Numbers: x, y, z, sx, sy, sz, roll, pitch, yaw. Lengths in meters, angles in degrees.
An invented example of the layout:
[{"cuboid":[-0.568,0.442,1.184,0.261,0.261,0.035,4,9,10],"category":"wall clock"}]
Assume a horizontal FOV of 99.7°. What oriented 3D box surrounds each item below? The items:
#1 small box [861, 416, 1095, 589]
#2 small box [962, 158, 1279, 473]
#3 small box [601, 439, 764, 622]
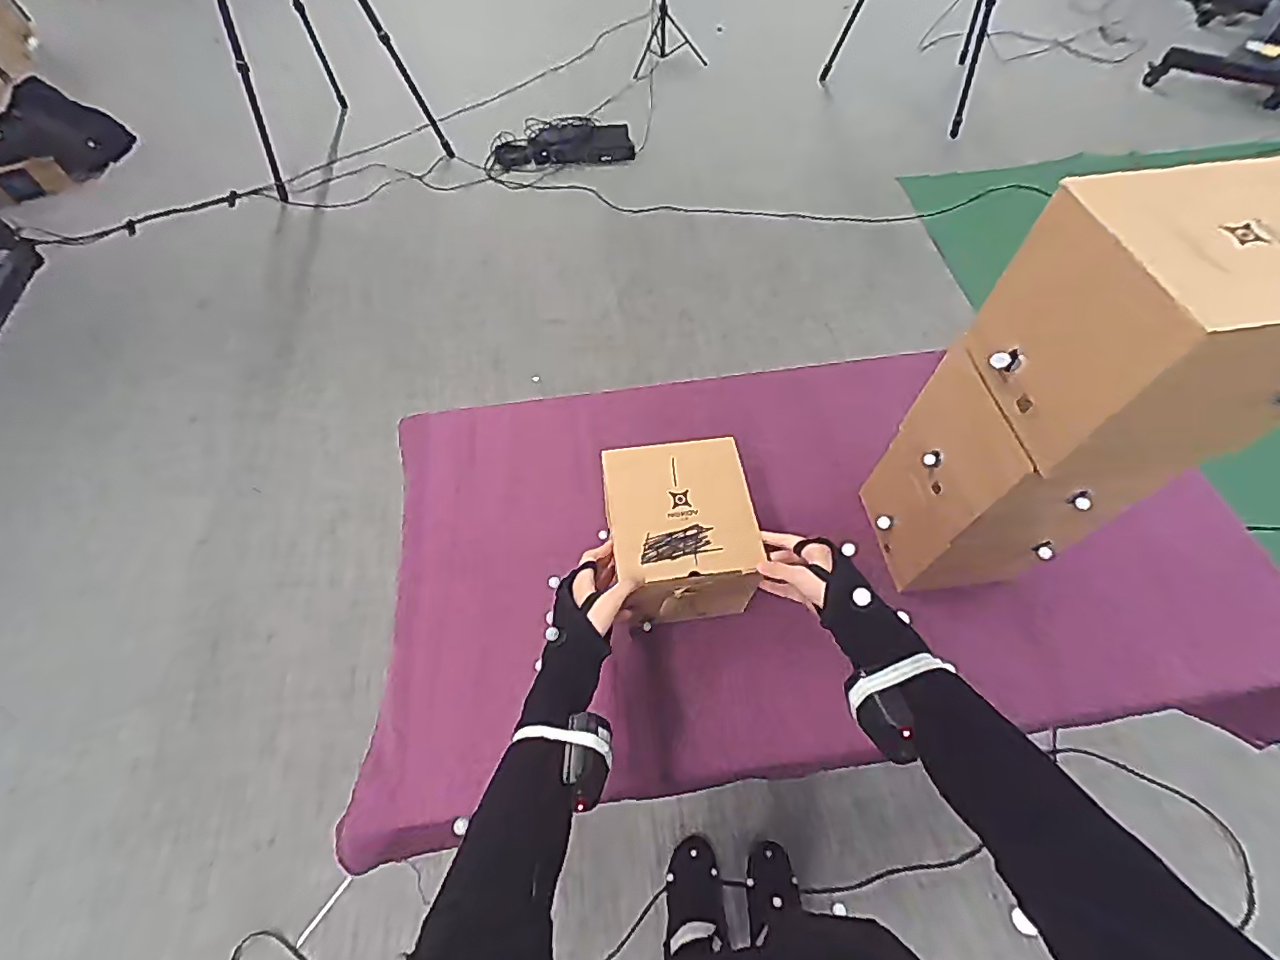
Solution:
[{"cuboid":[0.428,0.034,0.722,0.179,0.176,0.168,-7,59,-2],"category":"small box"},{"cuboid":[0.408,-0.122,0.433,0.179,0.176,0.168,-7,59,-2],"category":"small box"},{"cuboid":[0.044,0.072,0.688,0.168,0.176,0.179,-7,60,-5],"category":"small box"}]
